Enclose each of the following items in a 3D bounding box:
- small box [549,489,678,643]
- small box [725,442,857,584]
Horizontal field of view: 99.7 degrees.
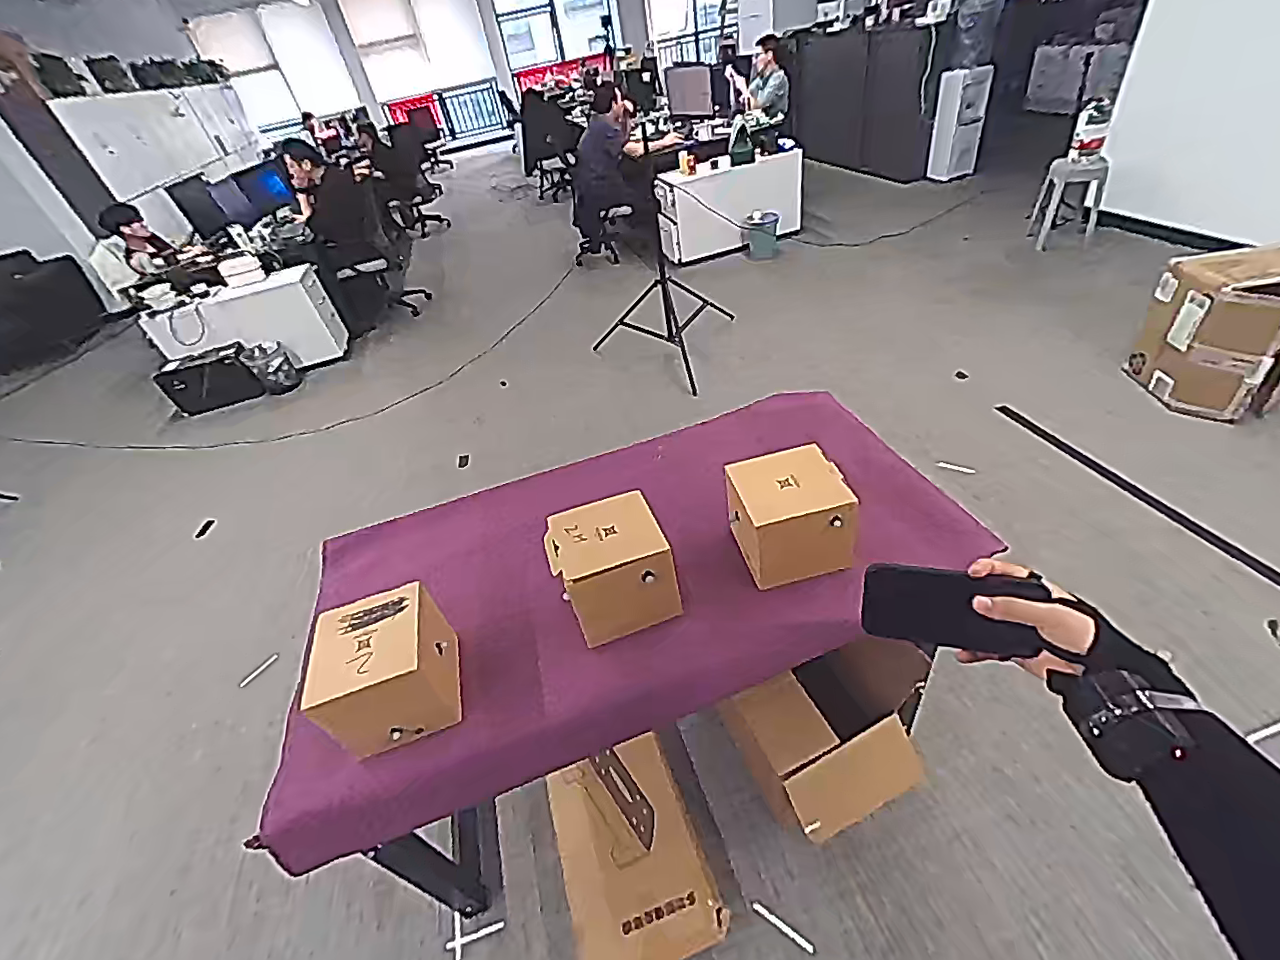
[{"bbox_3d":[-0.041,0.150,0.942,0.179,0.176,0.168,-19,38,-8],"label":"small box"},{"bbox_3d":[0.264,0.062,0.968,0.179,0.176,0.168,-14,40,-3],"label":"small box"}]
